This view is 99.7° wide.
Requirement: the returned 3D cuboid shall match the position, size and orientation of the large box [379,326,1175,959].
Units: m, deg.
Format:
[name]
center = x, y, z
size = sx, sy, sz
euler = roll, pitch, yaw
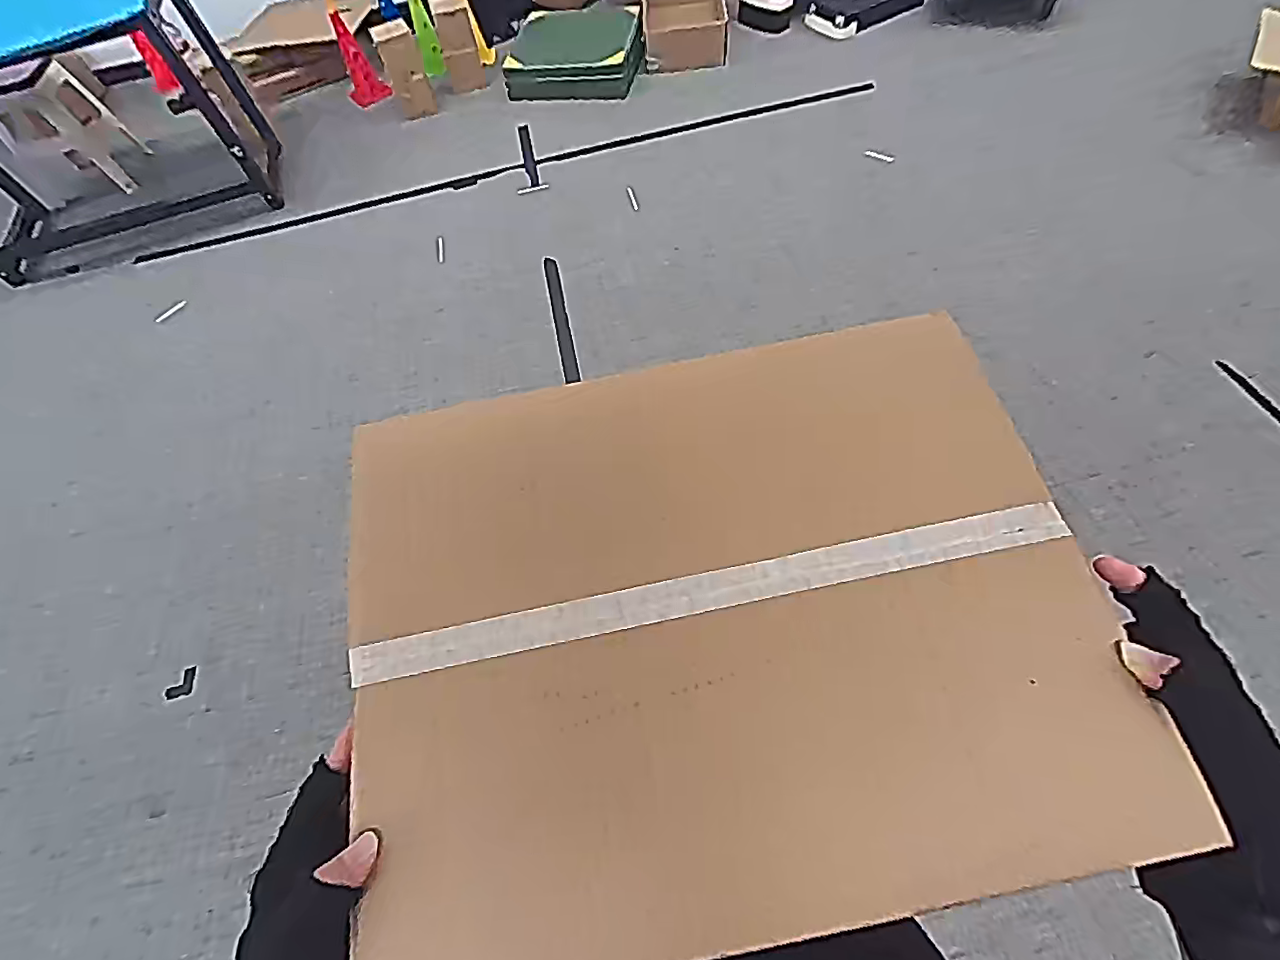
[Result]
[large box]
center = 0.050, 0.127, 0.455
size = 0.408, 0.320, 0.320
euler = -12, 67, -1
